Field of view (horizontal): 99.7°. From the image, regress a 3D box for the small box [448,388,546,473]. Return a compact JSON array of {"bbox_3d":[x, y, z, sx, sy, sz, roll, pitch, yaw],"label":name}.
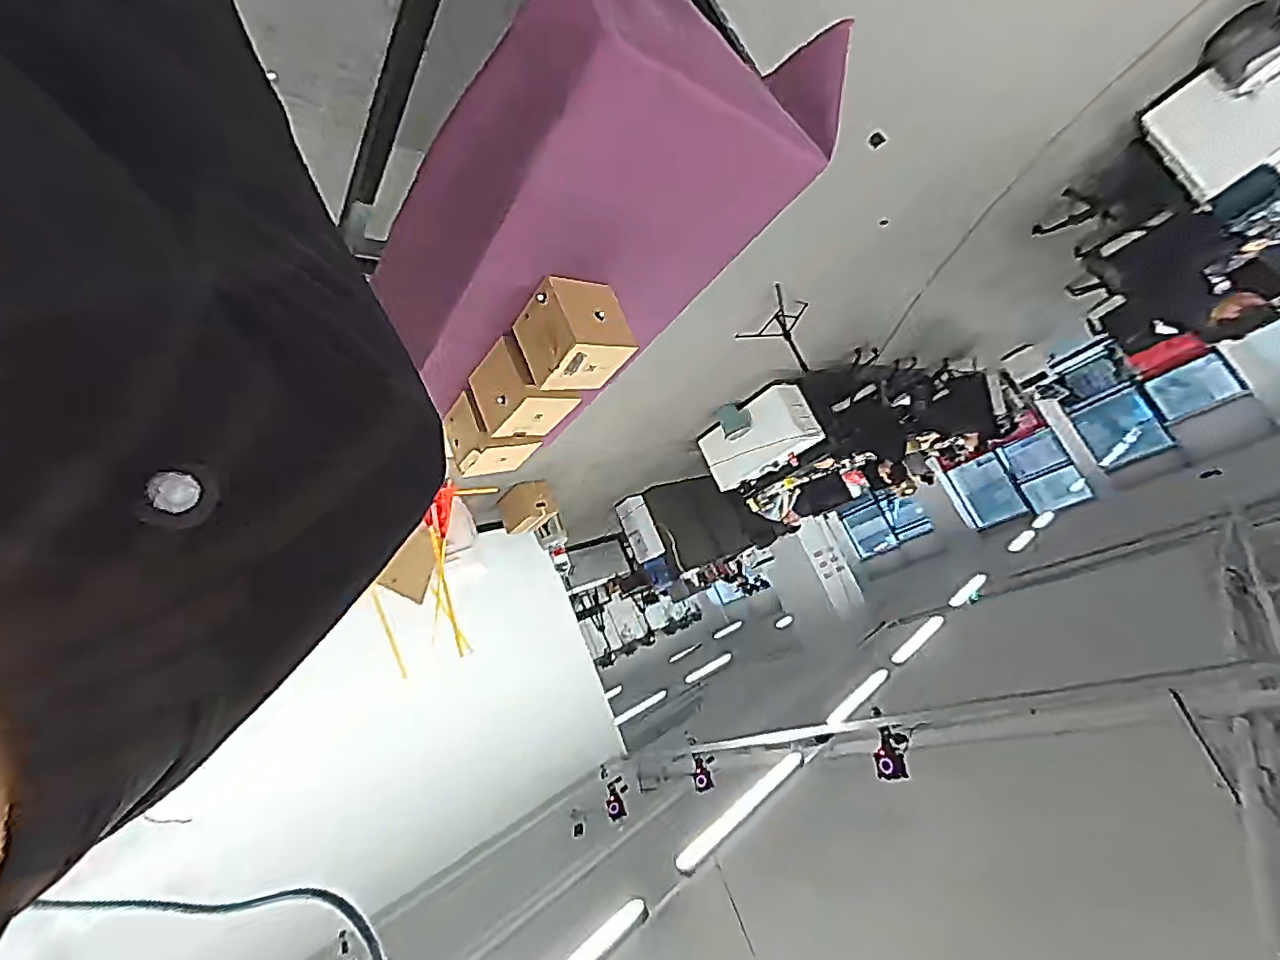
[{"bbox_3d":[-0.388,-0.136,1.448,0.179,0.176,0.168,-11,162,-46],"label":"small box"}]
